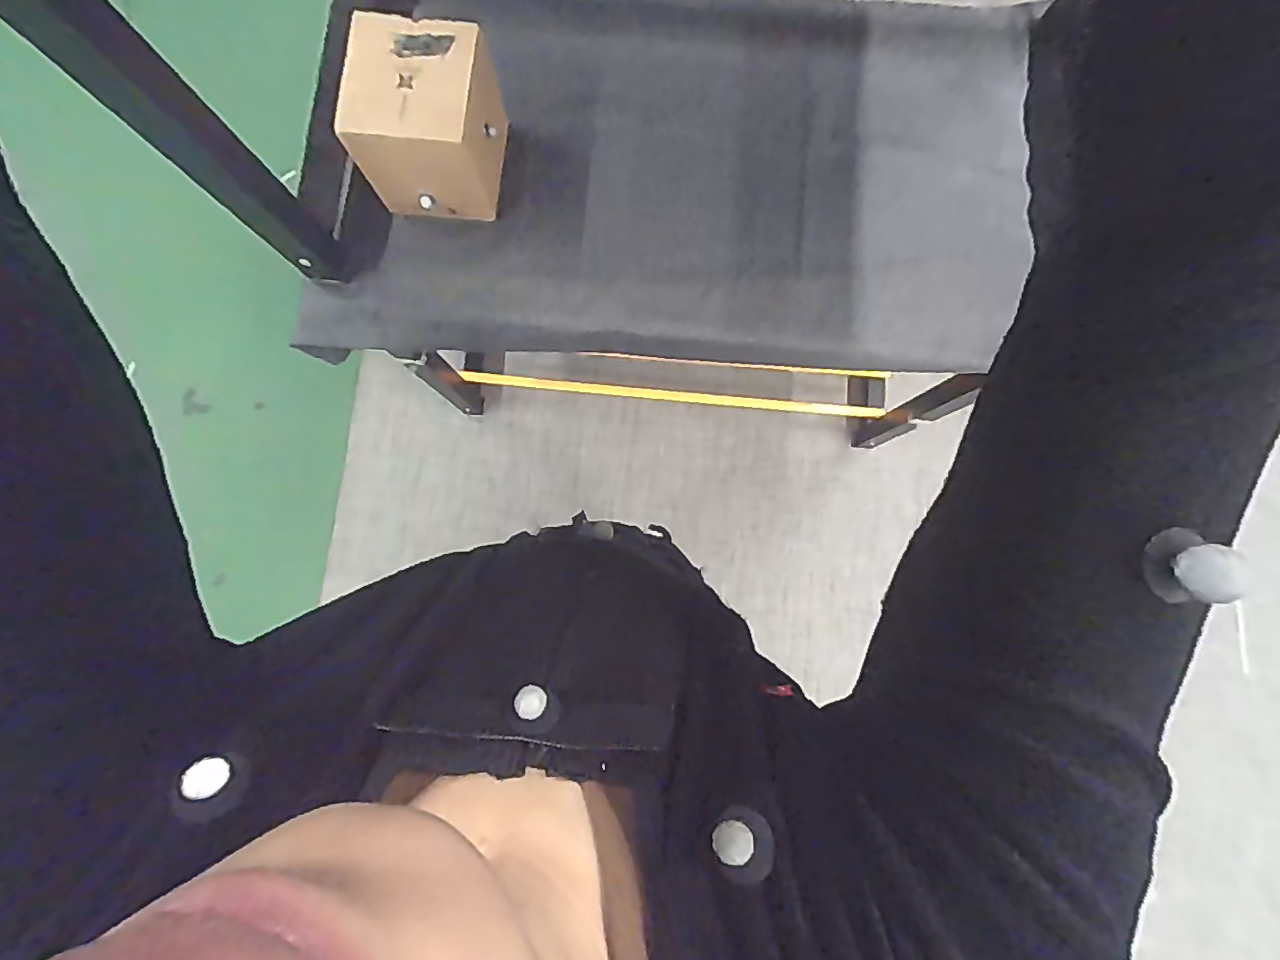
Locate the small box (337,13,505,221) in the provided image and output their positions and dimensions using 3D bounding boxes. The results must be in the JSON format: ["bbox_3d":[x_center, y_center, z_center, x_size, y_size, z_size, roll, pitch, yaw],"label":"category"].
[{"bbox_3d":[-0.299,-0.509,0.777,0.168,0.176,0.179,5,82,0],"label":"small box"}]
